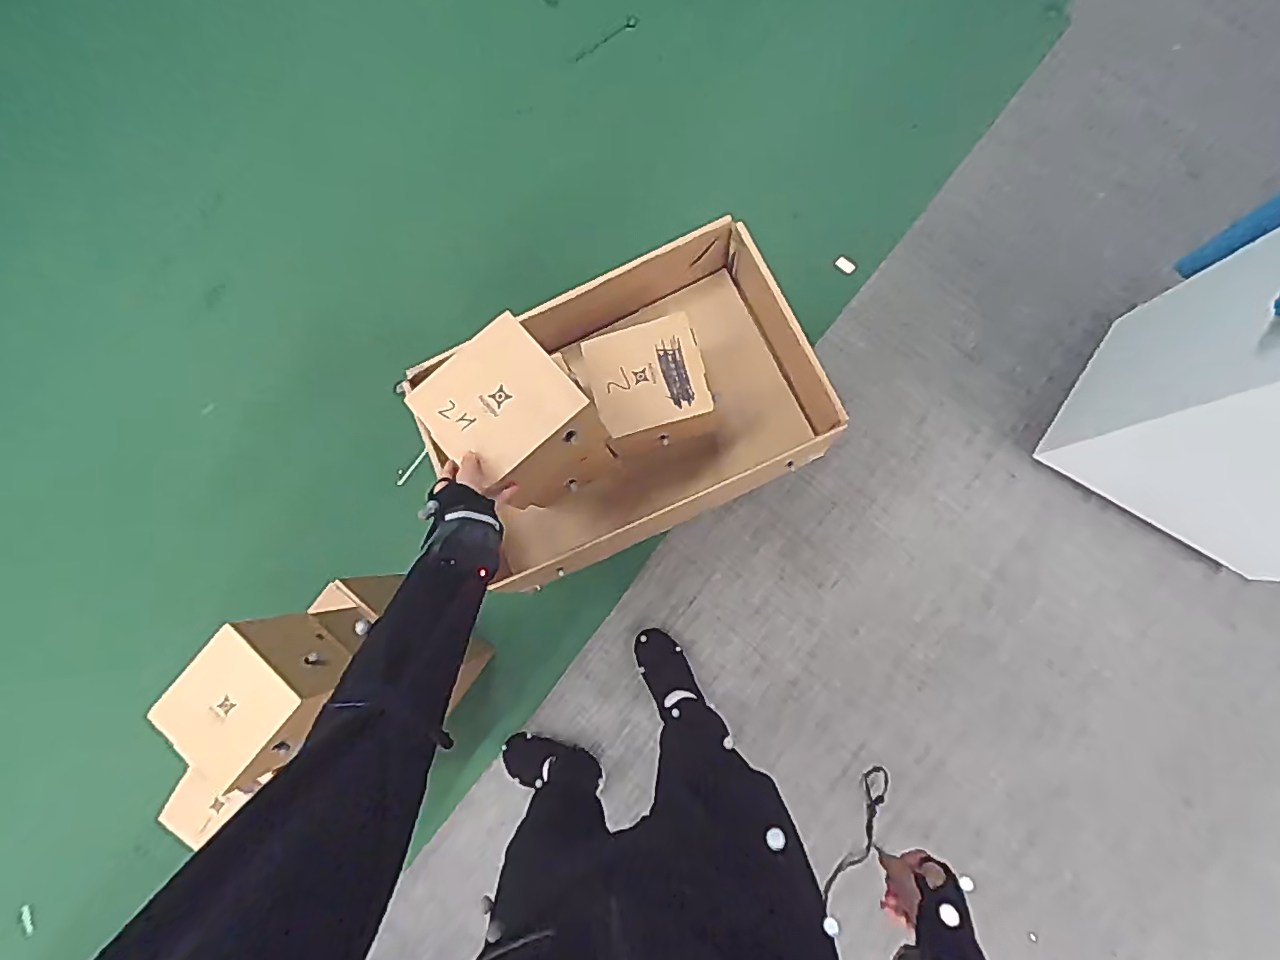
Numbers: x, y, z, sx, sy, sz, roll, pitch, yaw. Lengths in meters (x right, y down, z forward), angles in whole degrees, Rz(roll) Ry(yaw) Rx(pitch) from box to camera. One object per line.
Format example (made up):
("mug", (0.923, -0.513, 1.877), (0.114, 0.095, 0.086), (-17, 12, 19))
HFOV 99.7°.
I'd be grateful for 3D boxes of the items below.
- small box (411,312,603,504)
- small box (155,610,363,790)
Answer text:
("small box", (-0.166, -0.087, 0.743), (0.179, 0.176, 0.168), (-41, 79, -2))
("small box", (-0.571, 0.324, 0.842), (0.168, 0.176, 0.179), (40, 89, 9))
